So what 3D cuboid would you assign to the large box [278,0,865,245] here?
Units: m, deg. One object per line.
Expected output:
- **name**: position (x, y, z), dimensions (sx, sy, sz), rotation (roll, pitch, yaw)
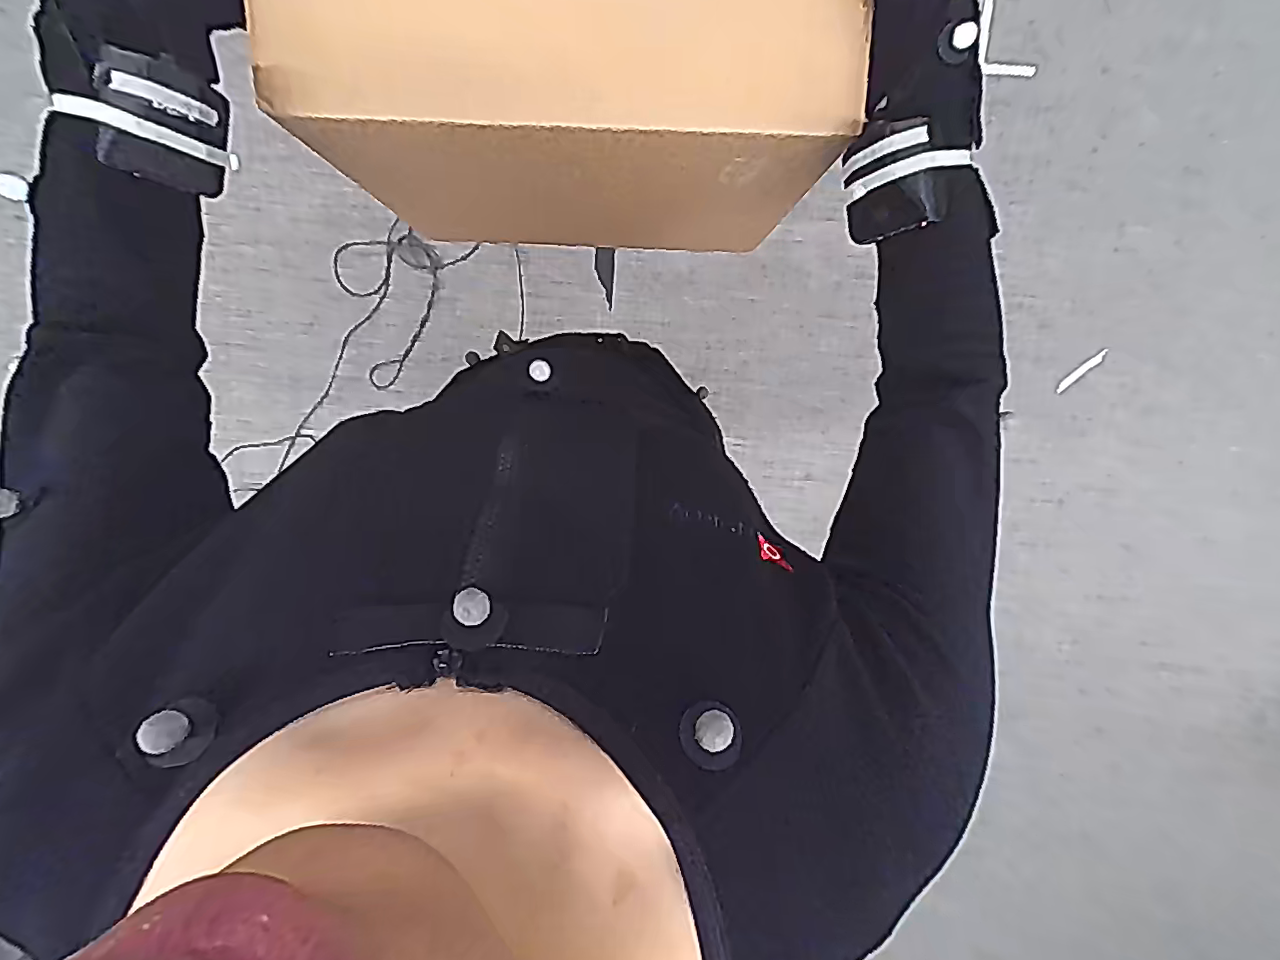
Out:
- **large box**: position (-0.048, -0.422, 0.501), dimensions (0.408, 0.320, 0.320), rotation (1, 99, -2)
